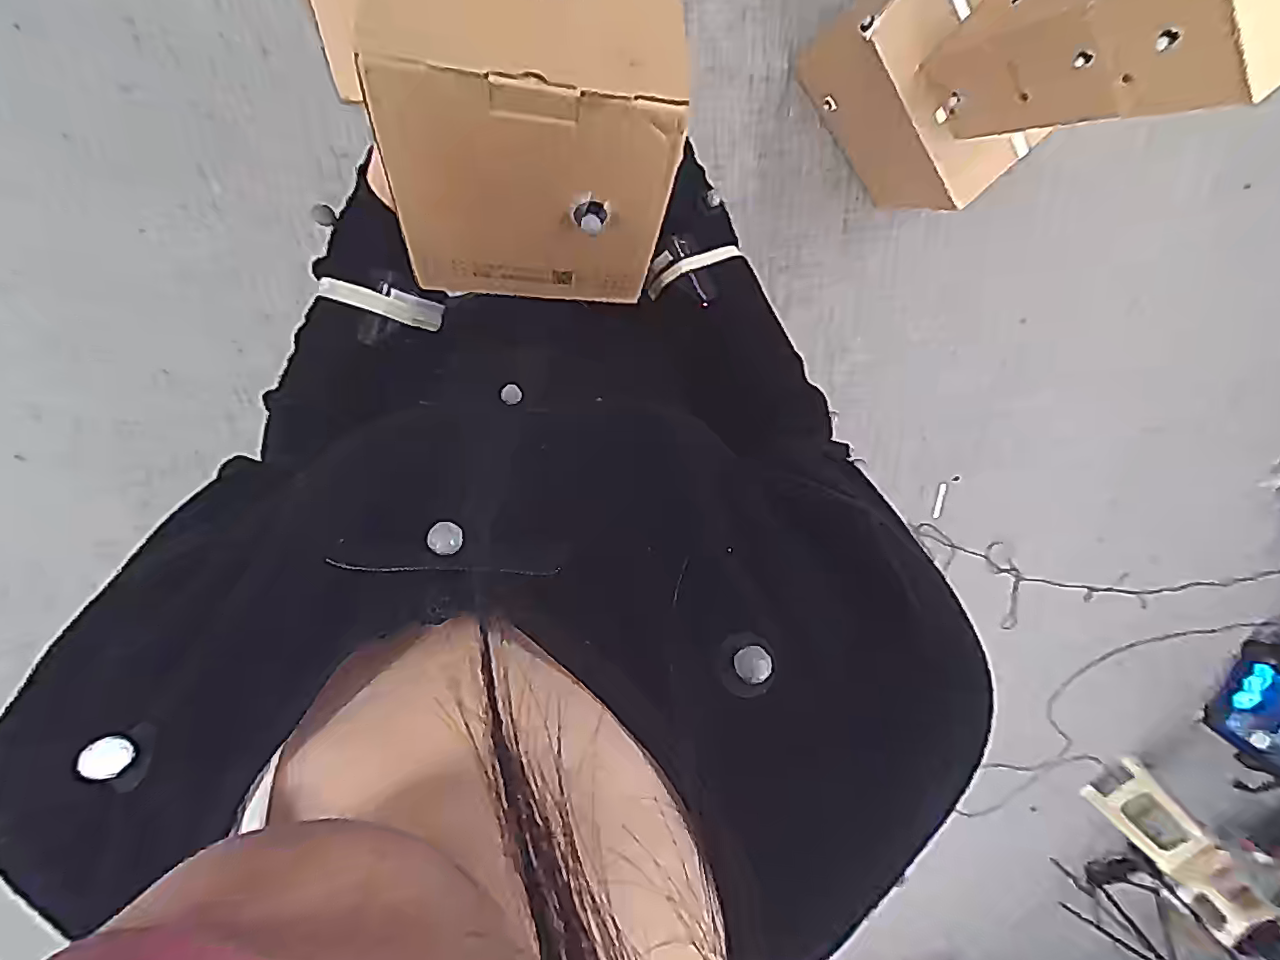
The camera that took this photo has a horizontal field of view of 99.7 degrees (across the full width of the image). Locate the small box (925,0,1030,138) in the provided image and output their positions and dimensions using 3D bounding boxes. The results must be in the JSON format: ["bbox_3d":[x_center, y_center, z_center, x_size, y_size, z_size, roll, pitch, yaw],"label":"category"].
[{"bbox_3d":[0.640,-0.728,0.930,0.179,0.176,0.168,-43,117,12],"label":"small box"}]

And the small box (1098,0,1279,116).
[{"bbox_3d":[0.703,-0.578,0.647,0.179,0.176,0.168,-44,117,12],"label":"small box"}]

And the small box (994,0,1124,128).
[{"bbox_3d":[0.672,-0.656,0.787,0.179,0.176,0.168,-44,117,11],"label":"small box"}]

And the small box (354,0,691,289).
[{"bbox_3d":[-0.074,-0.253,0.364,0.168,0.179,0.176,0,160,-13],"label":"small box"}]
